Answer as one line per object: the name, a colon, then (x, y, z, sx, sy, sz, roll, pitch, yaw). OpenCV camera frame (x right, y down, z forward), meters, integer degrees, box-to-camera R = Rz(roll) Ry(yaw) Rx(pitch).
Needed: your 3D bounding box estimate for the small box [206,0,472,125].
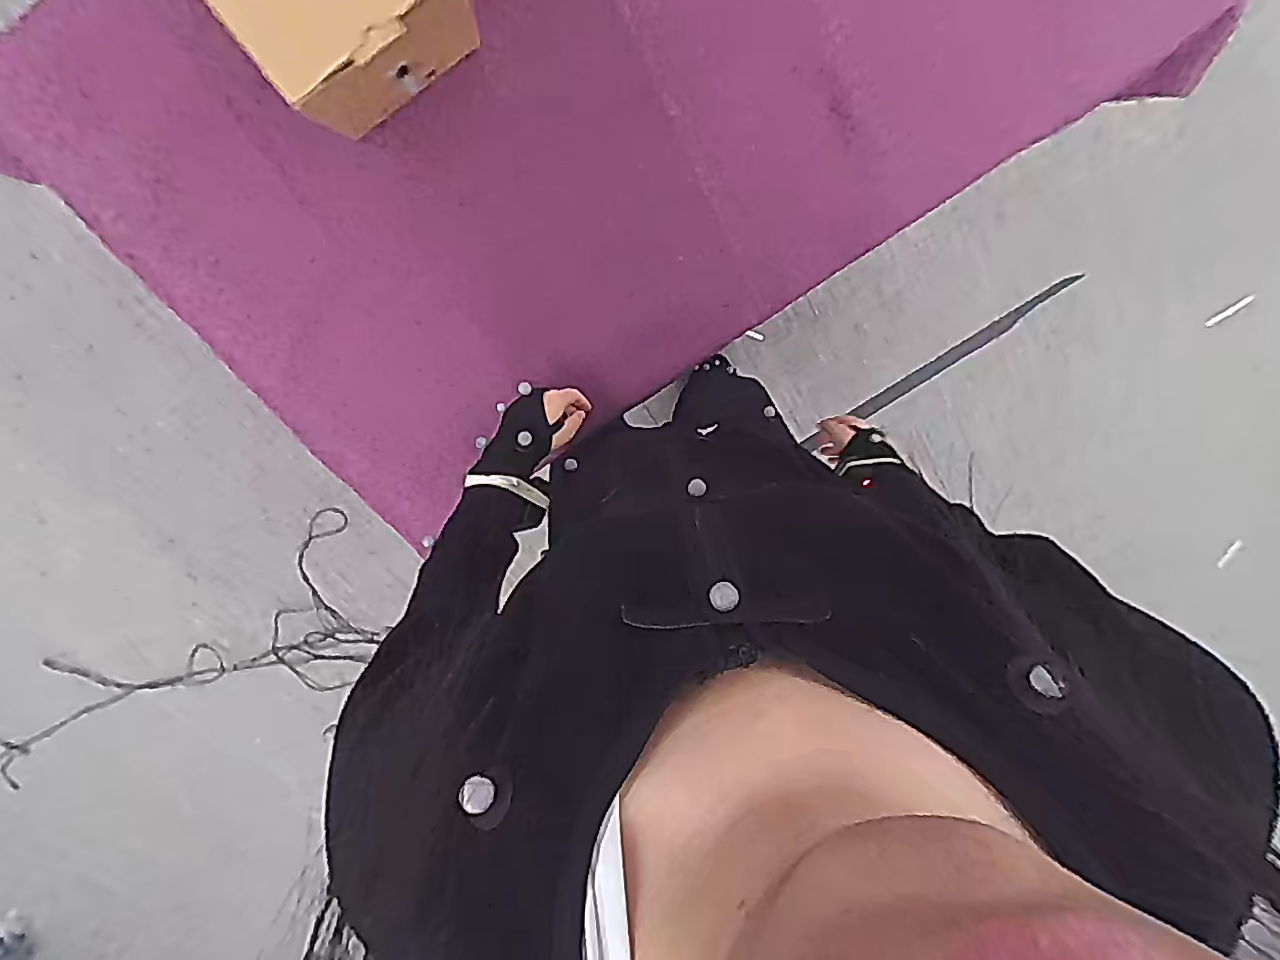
small box: (-0.258, -0.424, 0.441, 0.168, 0.176, 0.179, -34, 116, 5)
